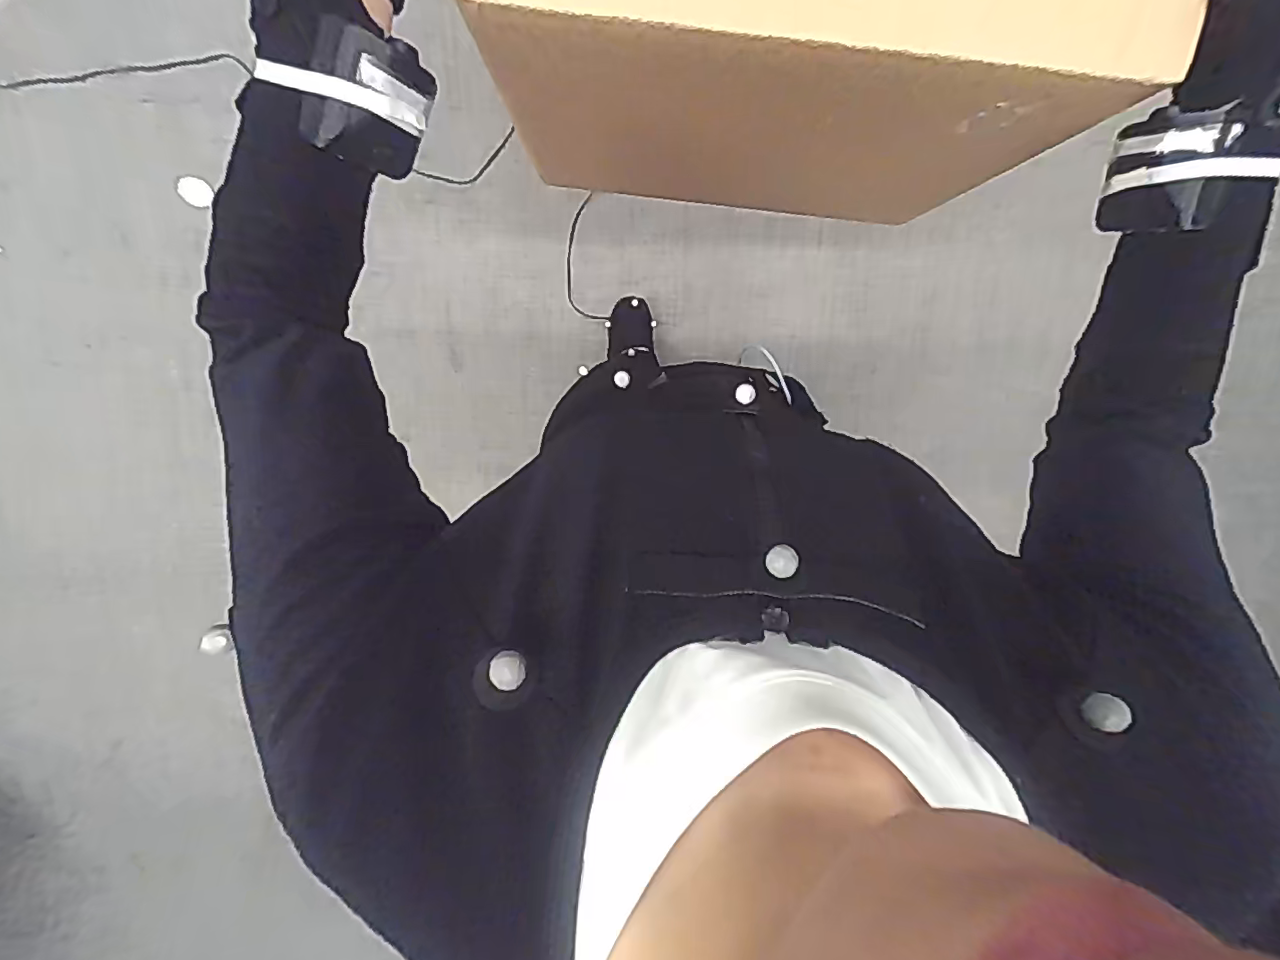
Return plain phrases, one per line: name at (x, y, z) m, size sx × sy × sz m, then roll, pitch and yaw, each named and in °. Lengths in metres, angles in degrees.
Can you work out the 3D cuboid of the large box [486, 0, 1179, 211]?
large box at (0.111, -0.429, 0.420) m, size 0.408 × 0.320 × 0.320 m, roll 4°, pitch 102°, yaw -3°
